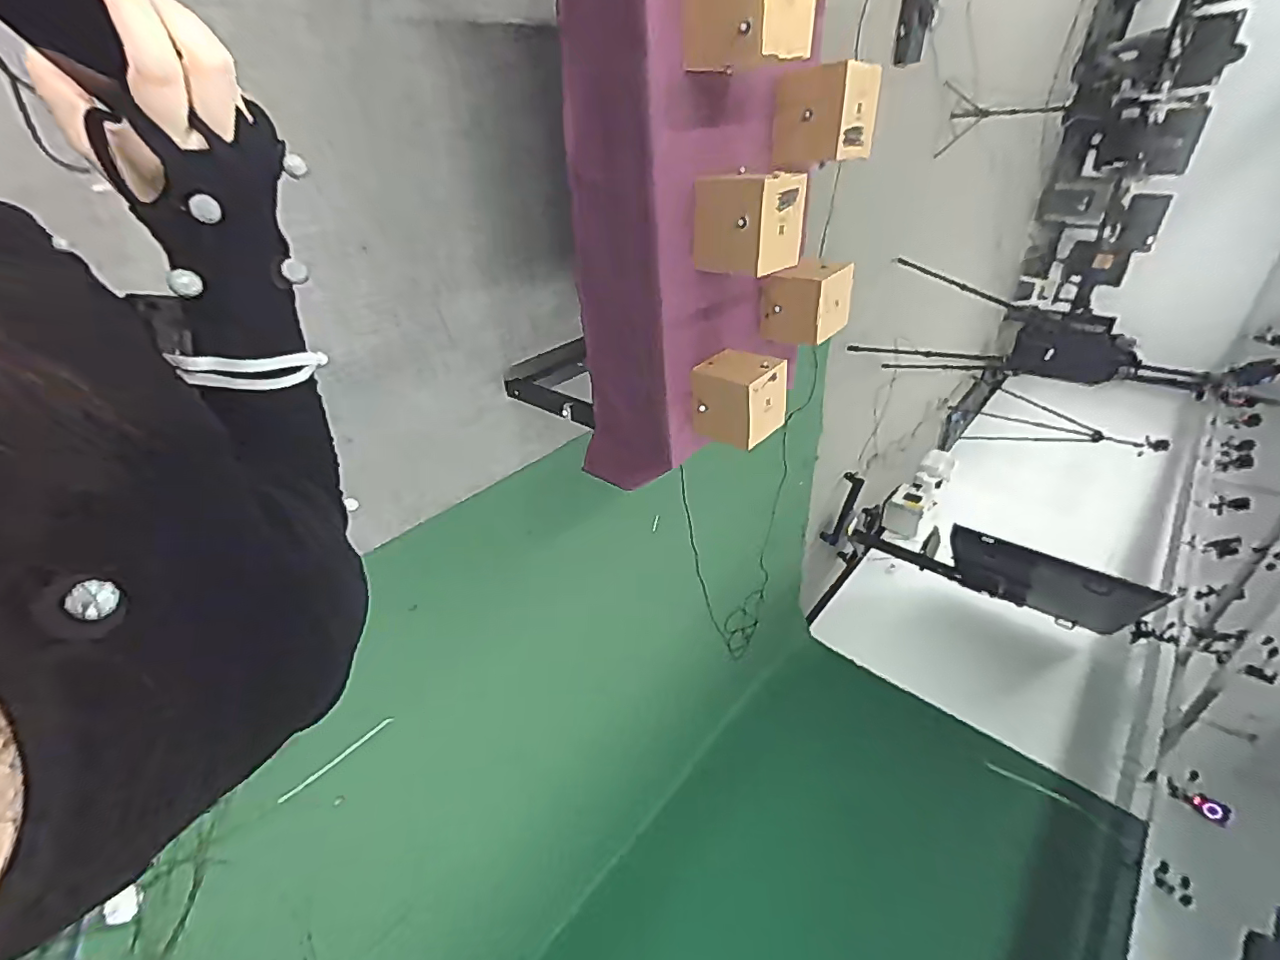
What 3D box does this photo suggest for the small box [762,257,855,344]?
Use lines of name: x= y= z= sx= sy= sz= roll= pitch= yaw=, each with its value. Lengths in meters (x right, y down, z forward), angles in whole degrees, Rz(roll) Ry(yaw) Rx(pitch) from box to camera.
small box: x=0.440 y=-0.480 z=1.426 sx=0.179 sy=0.176 sz=0.168 roll=-36 pitch=133 yaw=-33

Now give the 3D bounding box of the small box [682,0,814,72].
small box: x=0.185 y=-0.825 z=0.932 sx=0.168 sy=0.176 sz=0.179 roll=-33 pitch=133 yaw=-36

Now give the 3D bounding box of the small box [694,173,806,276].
small box: x=0.226 y=-0.540 z=1.135 sx=0.168 sy=0.176 sz=0.179 roll=-31 pitch=132 yaw=-37

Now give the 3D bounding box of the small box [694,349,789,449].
small box: x=0.248 y=-0.206 z=1.338 sx=0.168 sy=0.176 sz=0.179 roll=-35 pitch=133 yaw=-35
